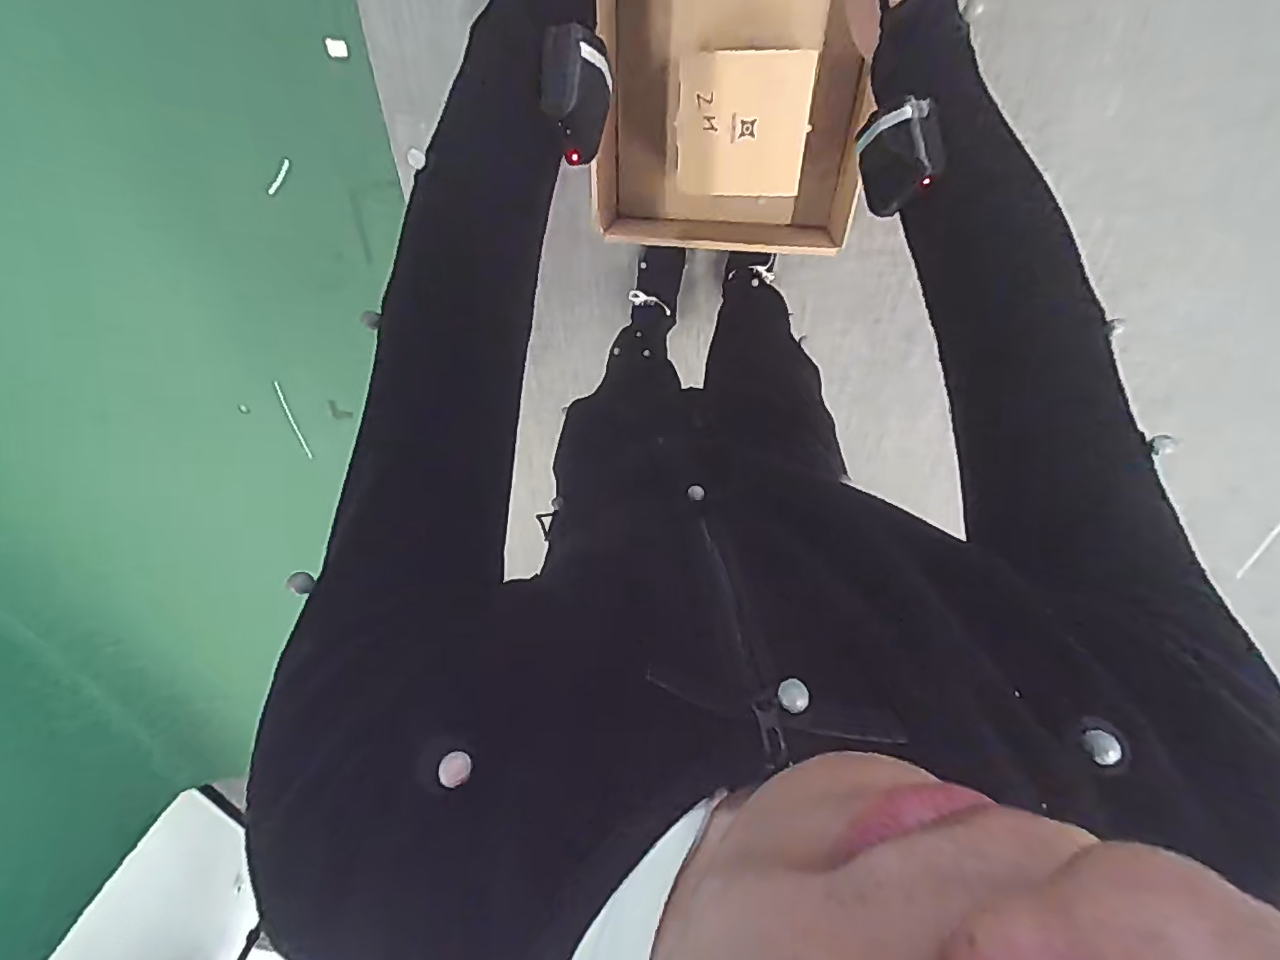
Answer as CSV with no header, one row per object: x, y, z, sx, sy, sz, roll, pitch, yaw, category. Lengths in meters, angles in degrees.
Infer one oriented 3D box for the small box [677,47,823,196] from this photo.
0.150,-0.523,0.787,0.179,0.176,0.168,5,127,6,small box
